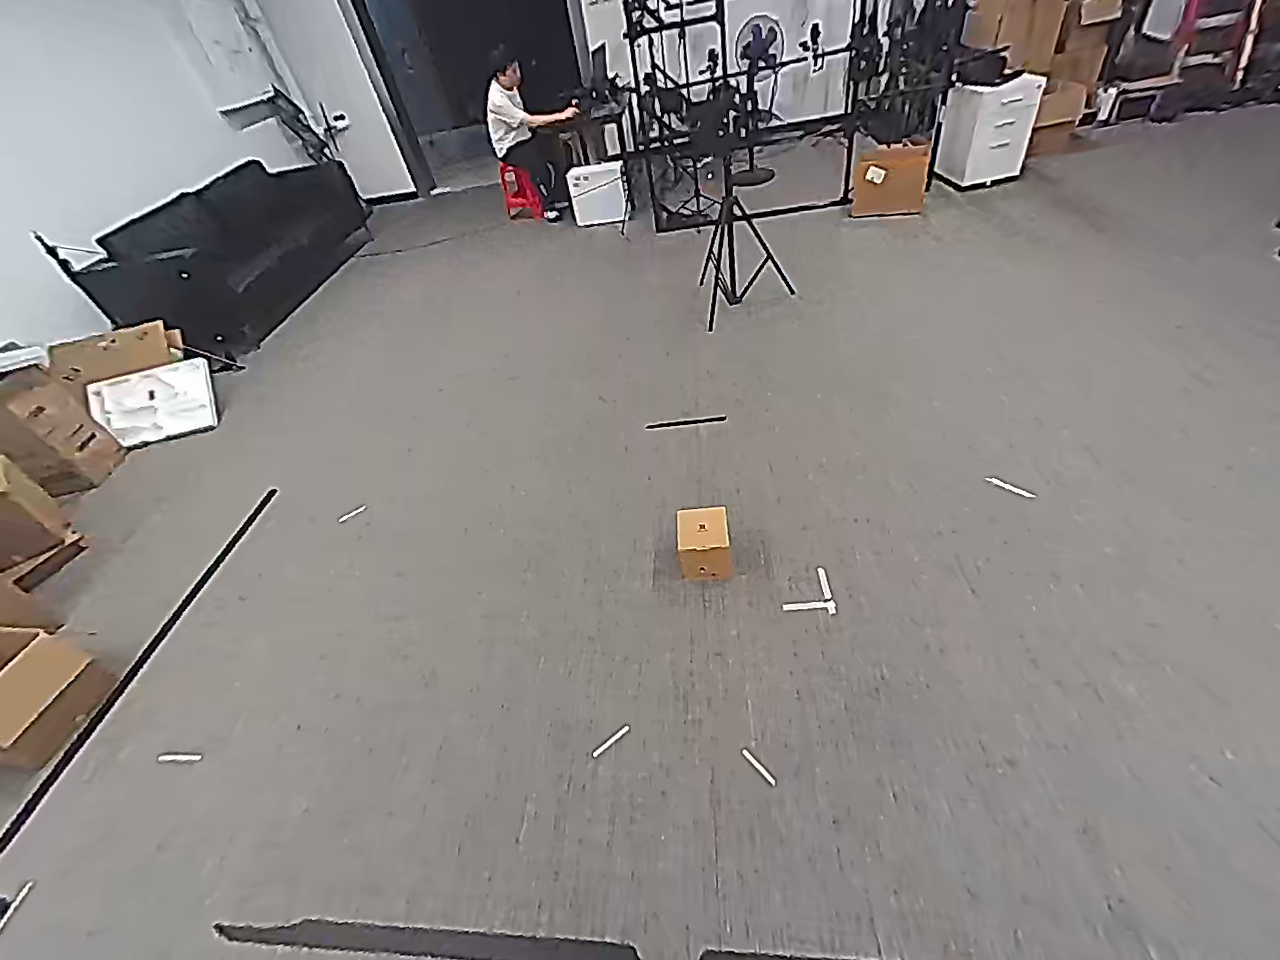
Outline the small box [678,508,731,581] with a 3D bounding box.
[{"bbox_3d":[0.218,0.220,1.831,0.168,0.176,0.179,-6,43,7],"label":"small box"}]
